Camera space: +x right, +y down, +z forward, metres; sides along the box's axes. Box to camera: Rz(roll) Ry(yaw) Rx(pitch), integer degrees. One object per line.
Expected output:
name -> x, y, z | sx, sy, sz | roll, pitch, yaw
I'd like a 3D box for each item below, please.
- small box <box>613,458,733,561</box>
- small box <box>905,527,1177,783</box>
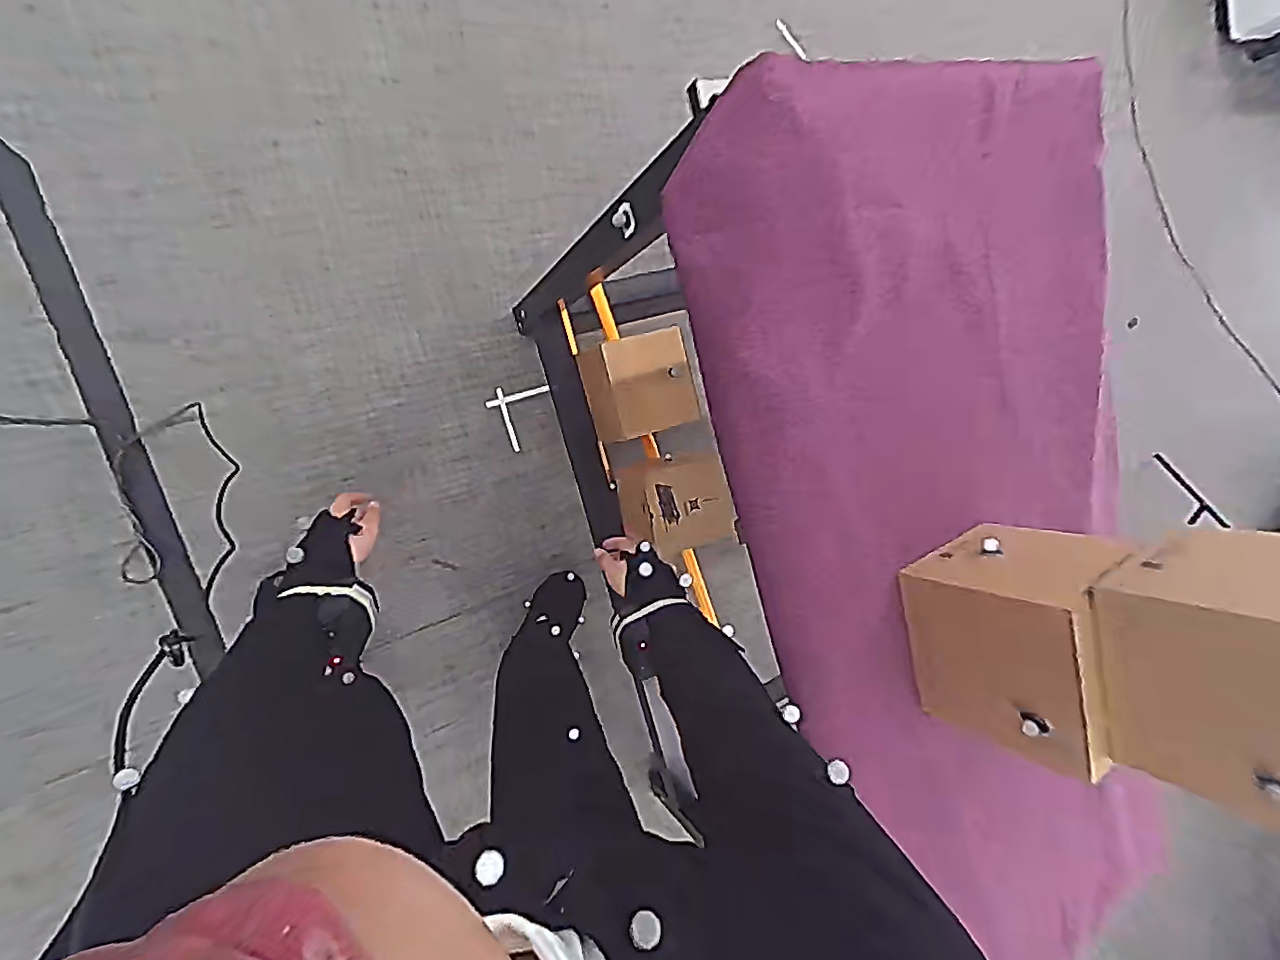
small box -> 0.057, 0.051, 1.081 | 0.179, 0.176, 0.168 | -13, 98, -25
small box -> 0.412, 0.162, 0.568 | 0.168, 0.176, 0.179 | -19, 100, -26
